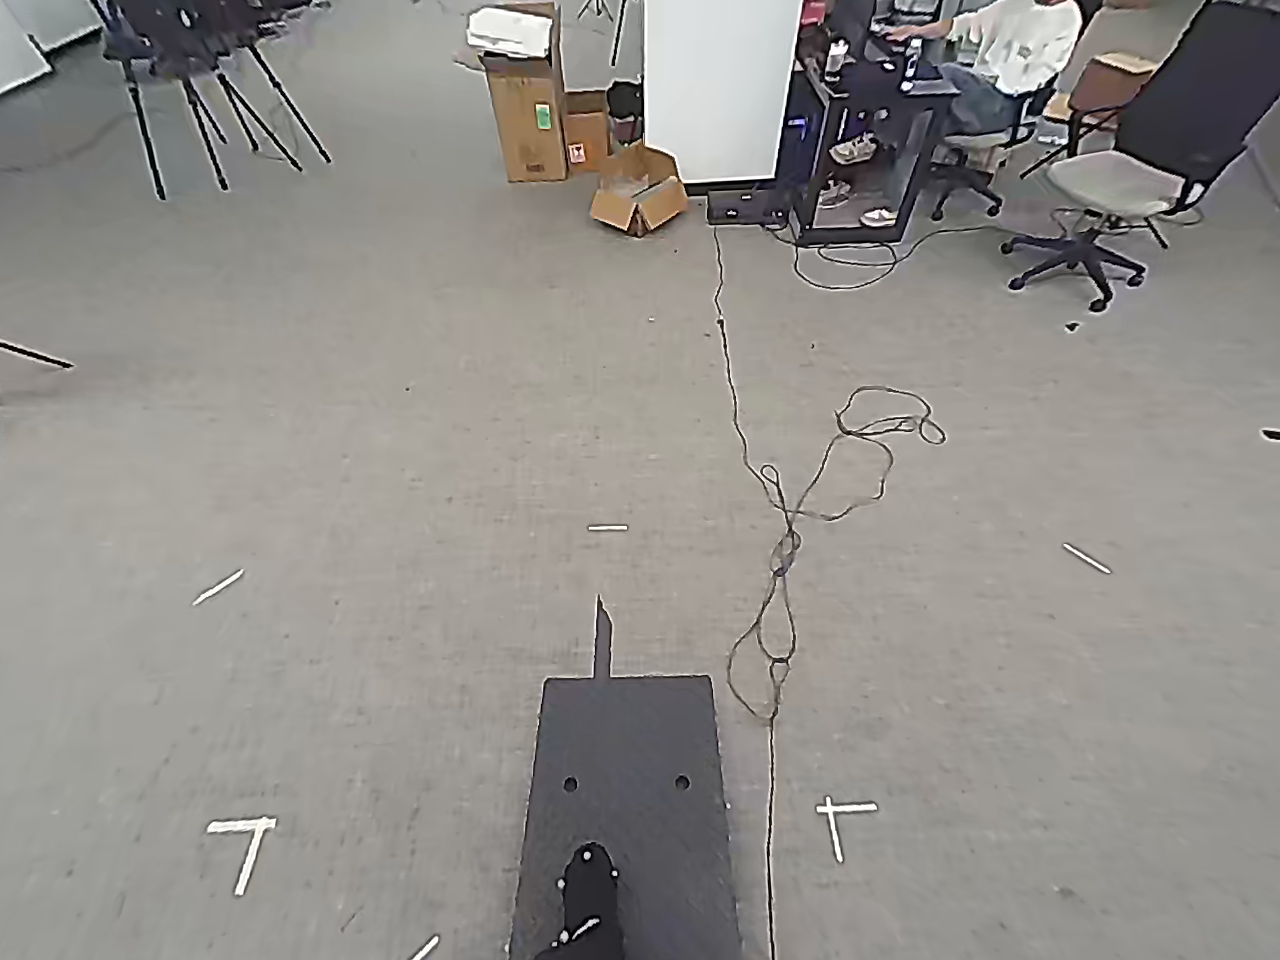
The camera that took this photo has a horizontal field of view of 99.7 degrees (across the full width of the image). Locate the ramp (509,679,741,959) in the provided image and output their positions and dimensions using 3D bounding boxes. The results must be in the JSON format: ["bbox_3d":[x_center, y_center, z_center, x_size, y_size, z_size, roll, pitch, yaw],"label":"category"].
[{"bbox_3d":[-0.034,0.923,1.217,0.509,0.206,0.991,-3,51,1],"label":"ramp"}]
